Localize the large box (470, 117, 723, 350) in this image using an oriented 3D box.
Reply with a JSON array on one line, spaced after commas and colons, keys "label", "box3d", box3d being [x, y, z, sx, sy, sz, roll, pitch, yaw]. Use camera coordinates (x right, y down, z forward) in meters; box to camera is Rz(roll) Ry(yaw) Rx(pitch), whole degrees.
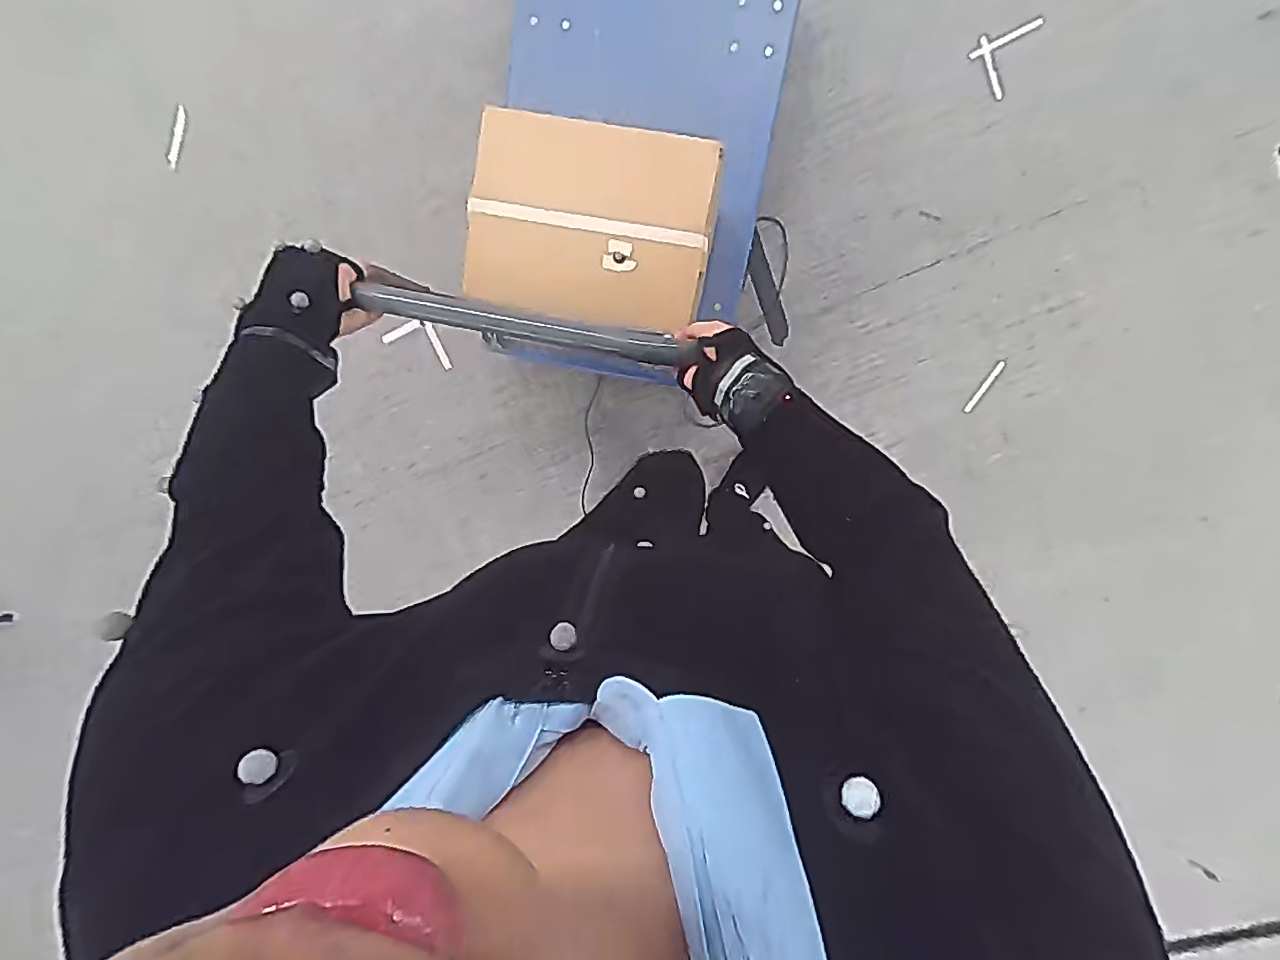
[{"label": "large box", "box3d": [-0.072, -0.450, 1.064, 0.408, 0.320, 0.320, 11, 101, 3]}]
